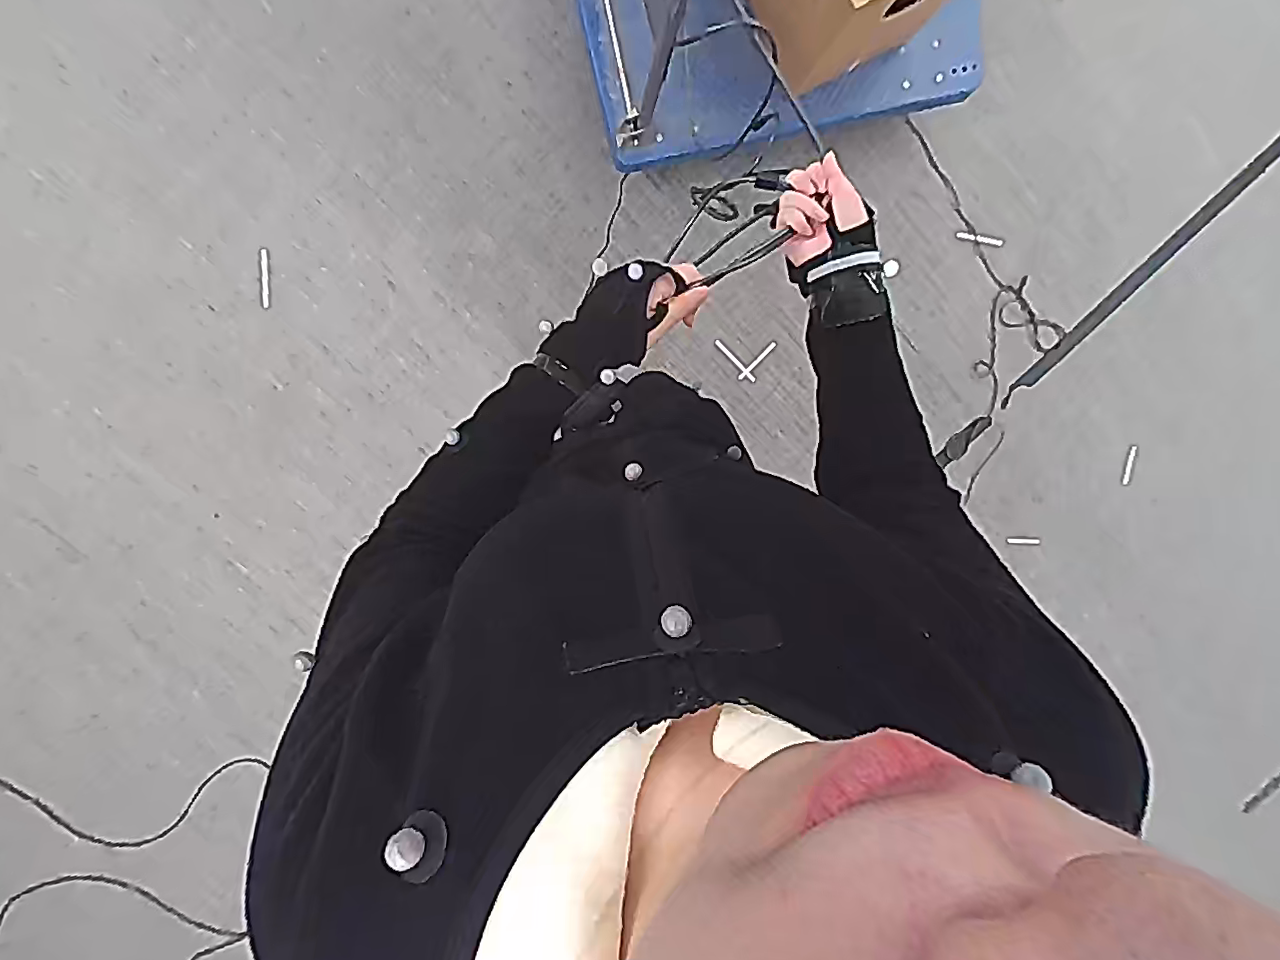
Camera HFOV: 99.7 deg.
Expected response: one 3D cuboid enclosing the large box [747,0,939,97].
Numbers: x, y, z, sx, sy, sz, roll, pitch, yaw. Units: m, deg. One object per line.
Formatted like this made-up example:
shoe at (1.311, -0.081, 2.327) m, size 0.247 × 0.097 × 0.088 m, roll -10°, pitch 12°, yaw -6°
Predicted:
large box at (0.382, -1.060, 1.016) m, size 0.320 × 0.320 × 0.408 m, roll -28°, pitch 102°, yaw 0°
